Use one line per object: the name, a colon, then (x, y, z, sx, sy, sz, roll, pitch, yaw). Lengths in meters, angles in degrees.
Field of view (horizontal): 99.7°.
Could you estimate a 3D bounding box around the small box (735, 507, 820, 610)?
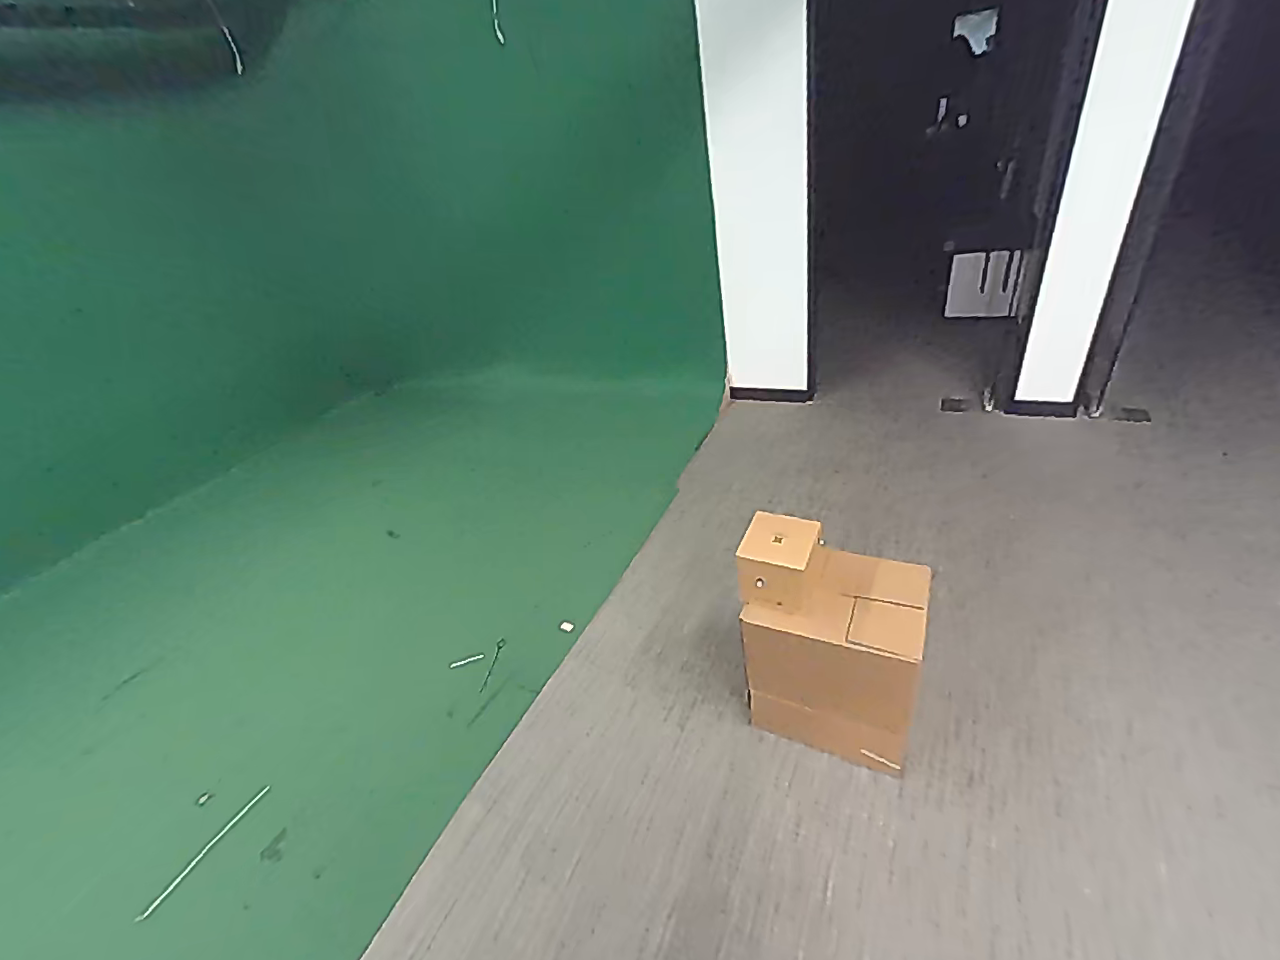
small box: (0.350, 0.197, 1.361, 0.168, 0.176, 0.179, 11, 41, 27)
